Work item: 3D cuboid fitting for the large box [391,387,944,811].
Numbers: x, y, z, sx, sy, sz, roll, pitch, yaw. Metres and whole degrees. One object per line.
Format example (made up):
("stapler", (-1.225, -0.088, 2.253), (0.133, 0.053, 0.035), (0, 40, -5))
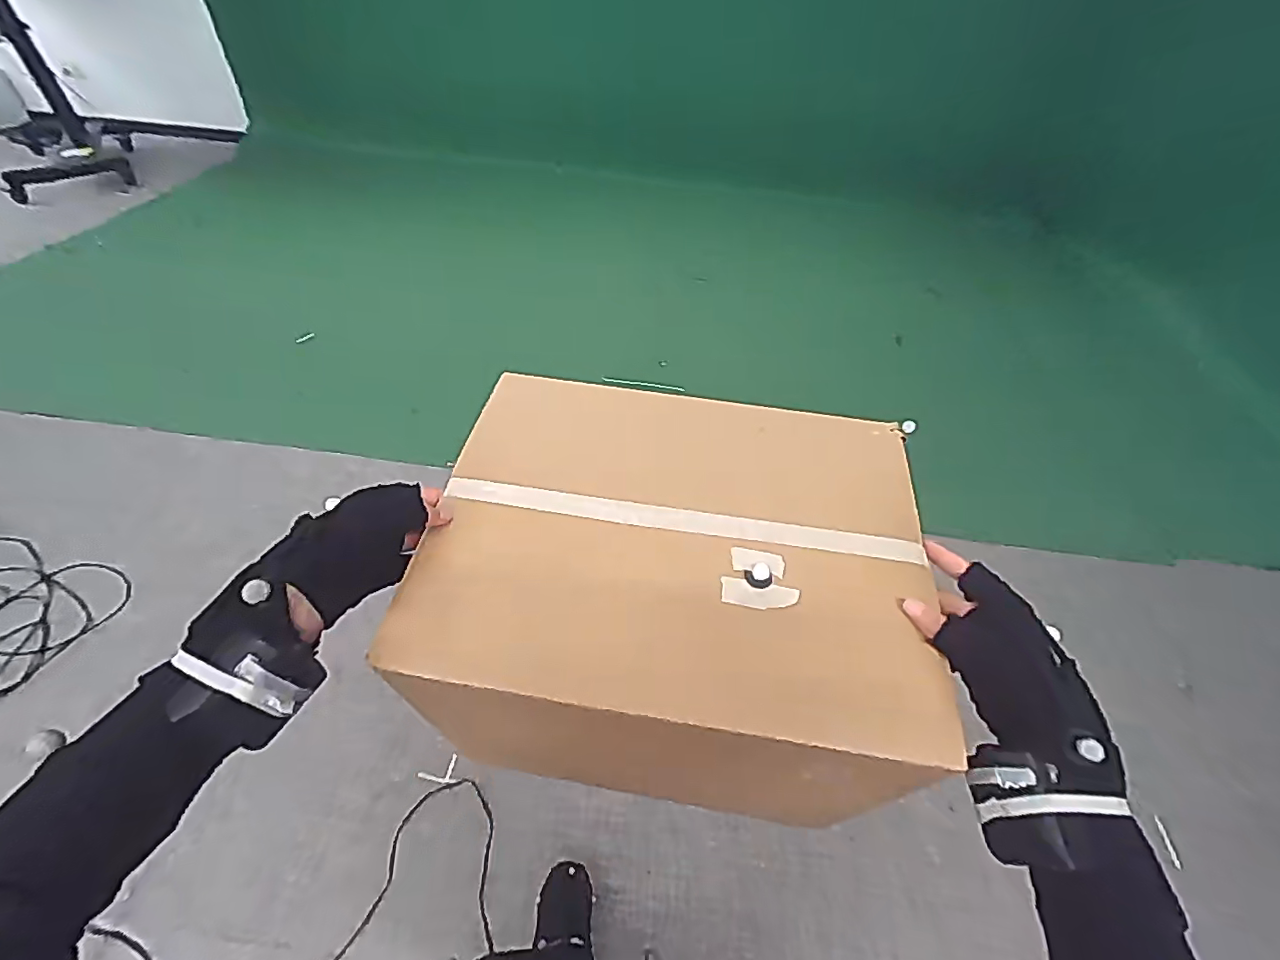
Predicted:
("large box", (0.028, 0.133, 0.586), (0.408, 0.320, 0.320), (8, 52, 4))
